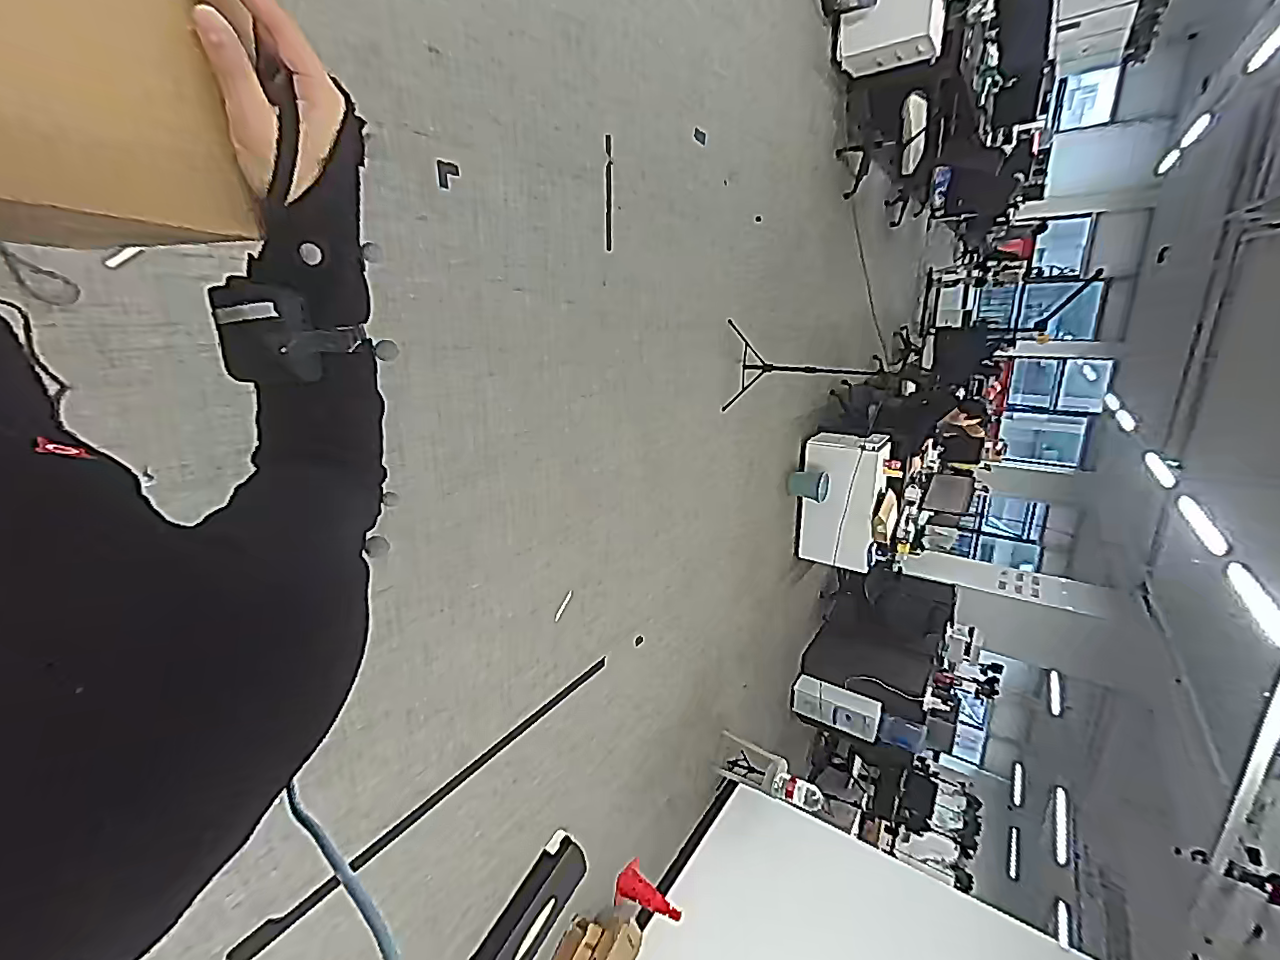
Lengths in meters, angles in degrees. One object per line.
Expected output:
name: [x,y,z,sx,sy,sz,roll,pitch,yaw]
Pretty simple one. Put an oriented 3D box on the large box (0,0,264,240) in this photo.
large box: [-0.459,-0.291,0.209,0.408,0.320,0.320,-22,120,-57]
